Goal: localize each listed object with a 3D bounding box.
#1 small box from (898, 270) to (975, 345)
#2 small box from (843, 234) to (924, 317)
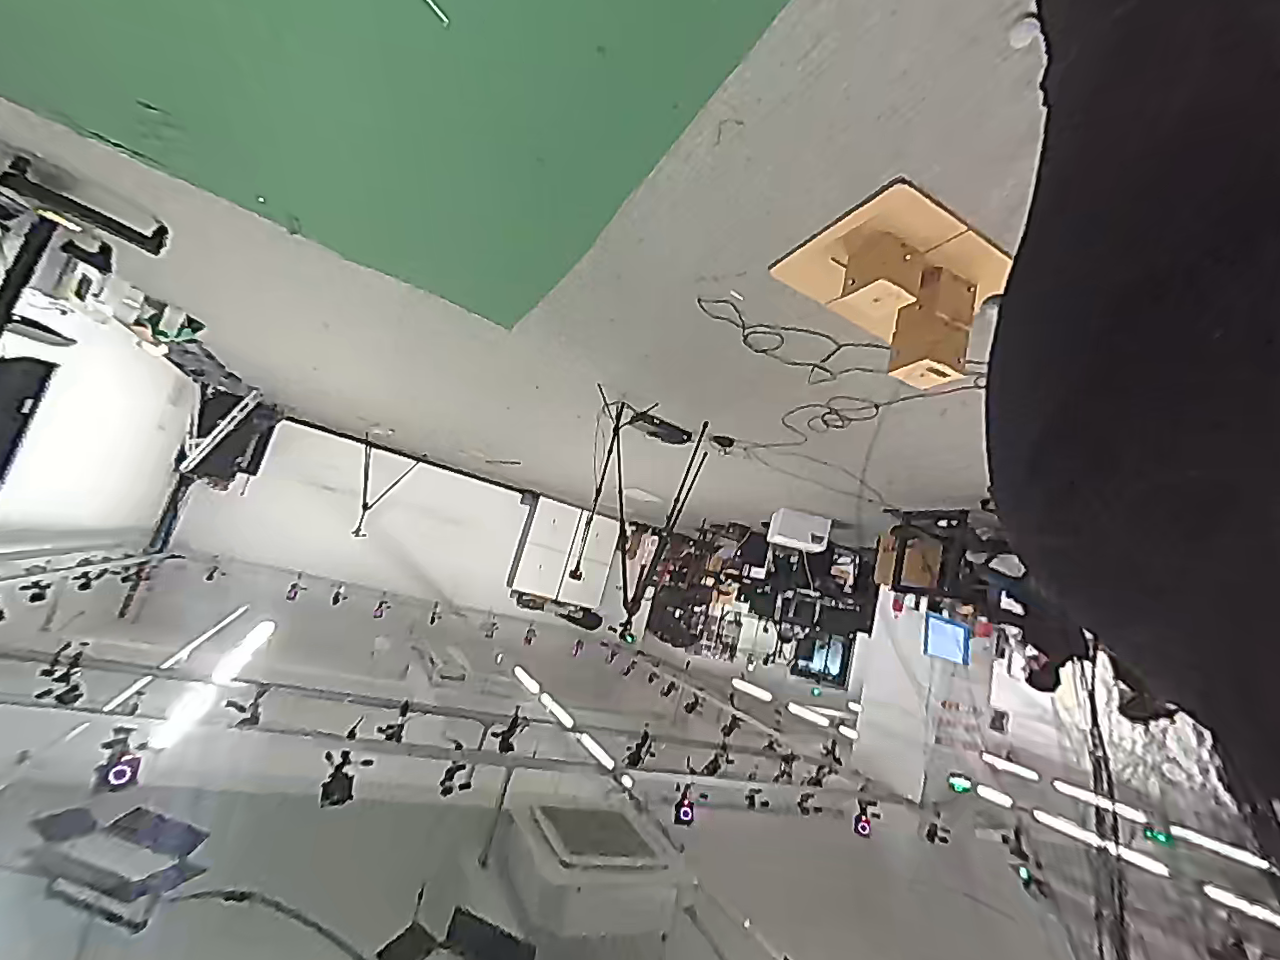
[{"bbox_3d":[1.033,-0.599,1.879,0.168,0.176,0.179,18,169,-18],"label":"small box"},{"bbox_3d":[0.810,-0.676,1.796,0.168,0.176,0.179,18,168,-22],"label":"small box"}]
